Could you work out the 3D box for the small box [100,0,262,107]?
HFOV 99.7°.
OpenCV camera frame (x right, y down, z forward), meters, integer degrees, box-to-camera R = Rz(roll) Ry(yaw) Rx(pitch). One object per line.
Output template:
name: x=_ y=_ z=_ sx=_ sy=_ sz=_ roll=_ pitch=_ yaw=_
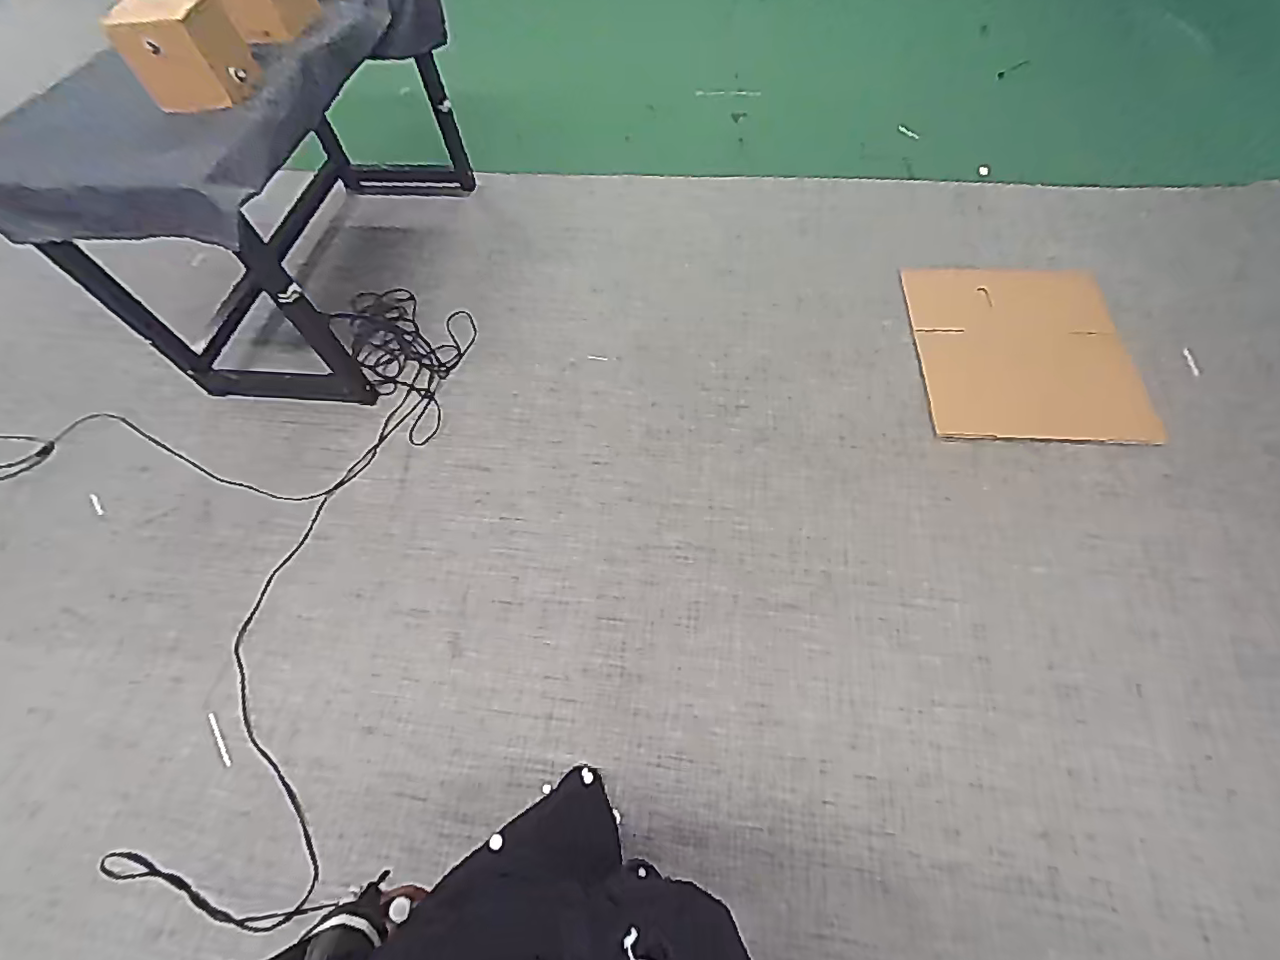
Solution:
small box: x=-0.985 y=-0.944 z=1.180 sx=0.179 sy=0.176 sz=0.168 roll=-2 pitch=61 yaw=2
